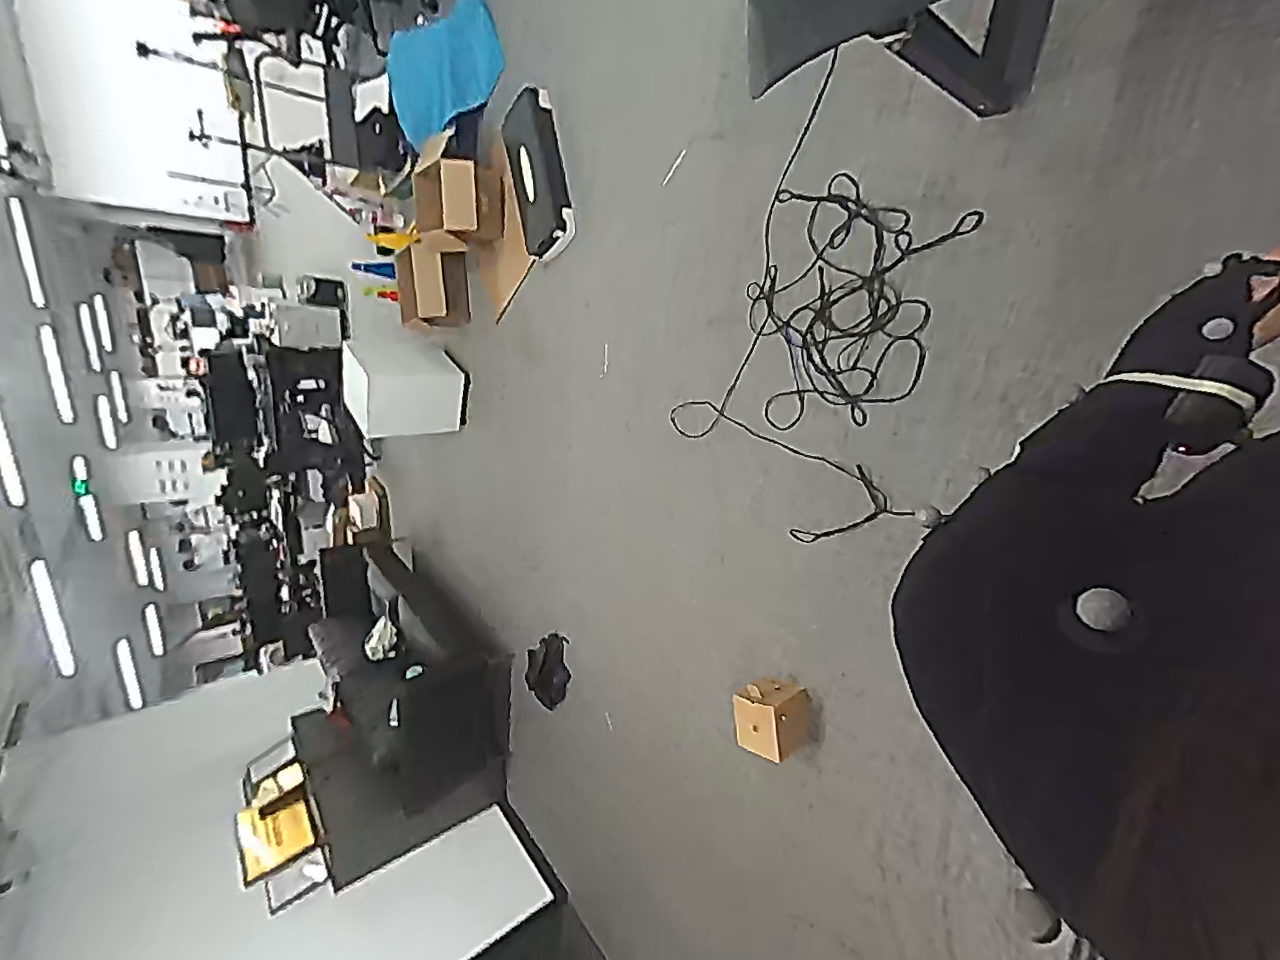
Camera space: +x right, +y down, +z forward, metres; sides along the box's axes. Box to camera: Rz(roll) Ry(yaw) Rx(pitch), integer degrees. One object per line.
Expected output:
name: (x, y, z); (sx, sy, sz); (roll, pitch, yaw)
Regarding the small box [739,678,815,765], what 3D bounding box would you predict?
small box: (0.439, 0.760, 1.719); (0.168, 0.176, 0.179); (-4, 93, 51)
